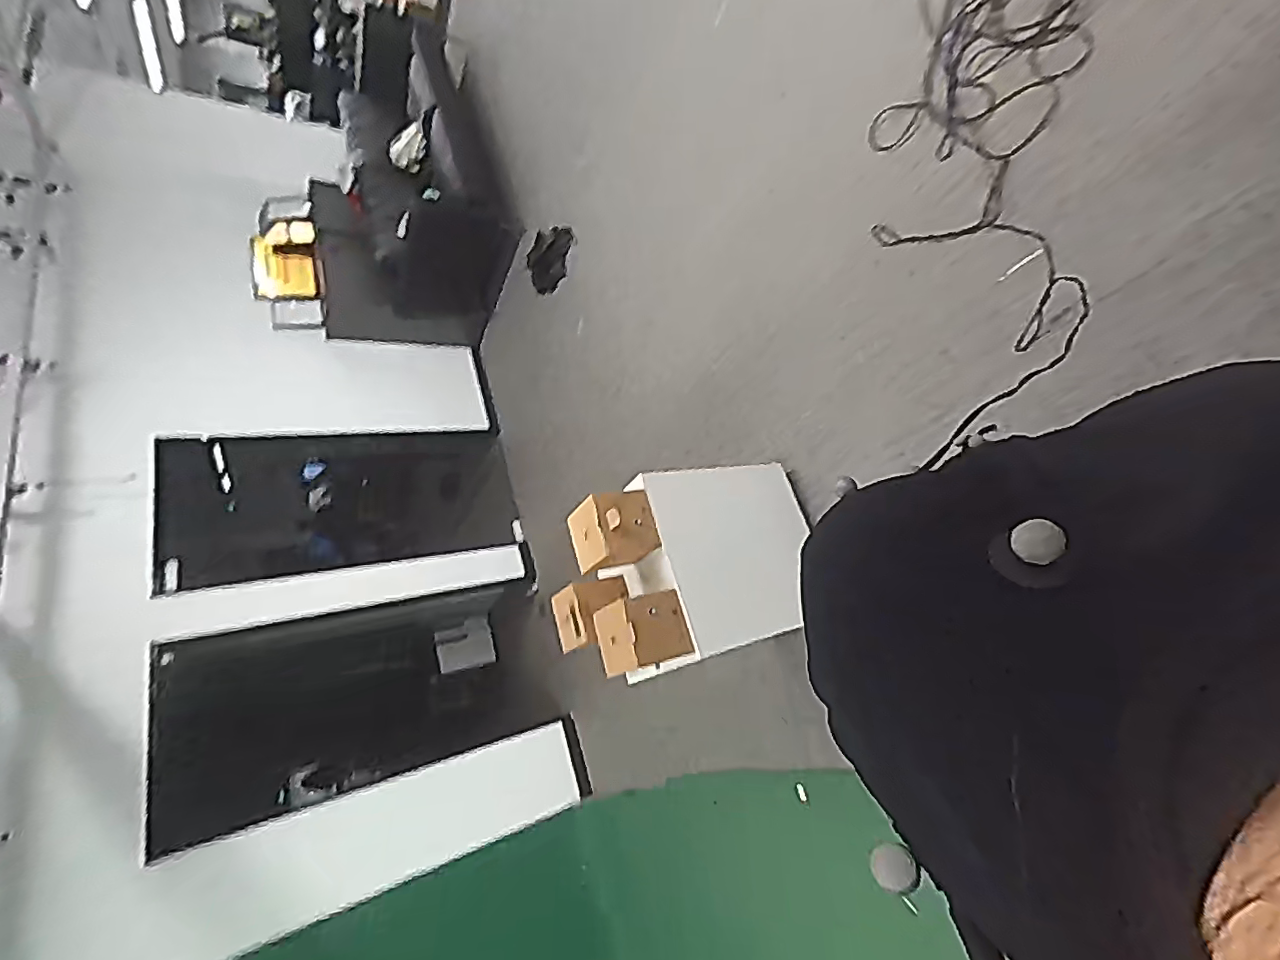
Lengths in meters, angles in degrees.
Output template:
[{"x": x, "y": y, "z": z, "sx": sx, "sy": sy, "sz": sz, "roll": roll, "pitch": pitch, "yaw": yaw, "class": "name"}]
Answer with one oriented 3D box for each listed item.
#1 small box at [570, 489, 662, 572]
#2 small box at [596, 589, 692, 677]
[{"x": -0.066, "y": 0.135, "z": 1.454, "sx": 0.179, "sy": 0.176, "sz": 0.168, "roll": -43, "pitch": 59, "yaw": 51, "class": "small box"}, {"x": 0.014, "y": 0.384, "z": 1.364, "sx": 0.179, "sy": 0.176, "sz": 0.168, "roll": -44, "pitch": 56, "yaw": 52, "class": "small box"}]
